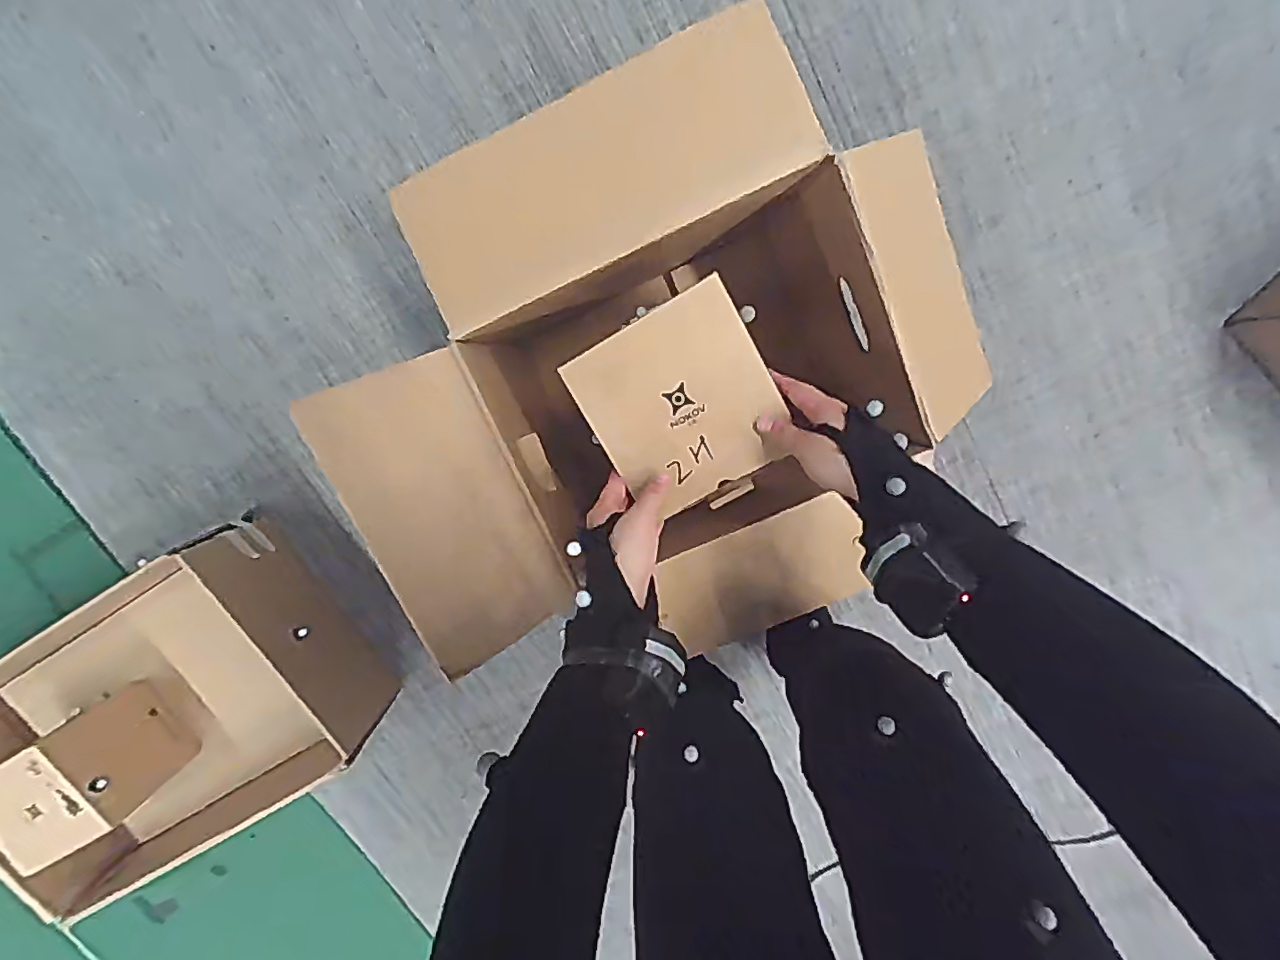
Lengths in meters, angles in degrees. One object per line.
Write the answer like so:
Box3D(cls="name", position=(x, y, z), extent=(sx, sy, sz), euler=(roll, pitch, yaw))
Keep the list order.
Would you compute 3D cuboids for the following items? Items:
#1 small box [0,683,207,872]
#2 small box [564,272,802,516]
Box3D(cls="small box", position=(-0.871, 0.468, 0.873), extent=(0.179, 0.176, 0.168), euler=(-30, 99, 7))
Box3D(cls="small box", position=(0.045, -0.091, 0.578), extent=(0.168, 0.176, 0.179), euler=(-29, 100, 11))
